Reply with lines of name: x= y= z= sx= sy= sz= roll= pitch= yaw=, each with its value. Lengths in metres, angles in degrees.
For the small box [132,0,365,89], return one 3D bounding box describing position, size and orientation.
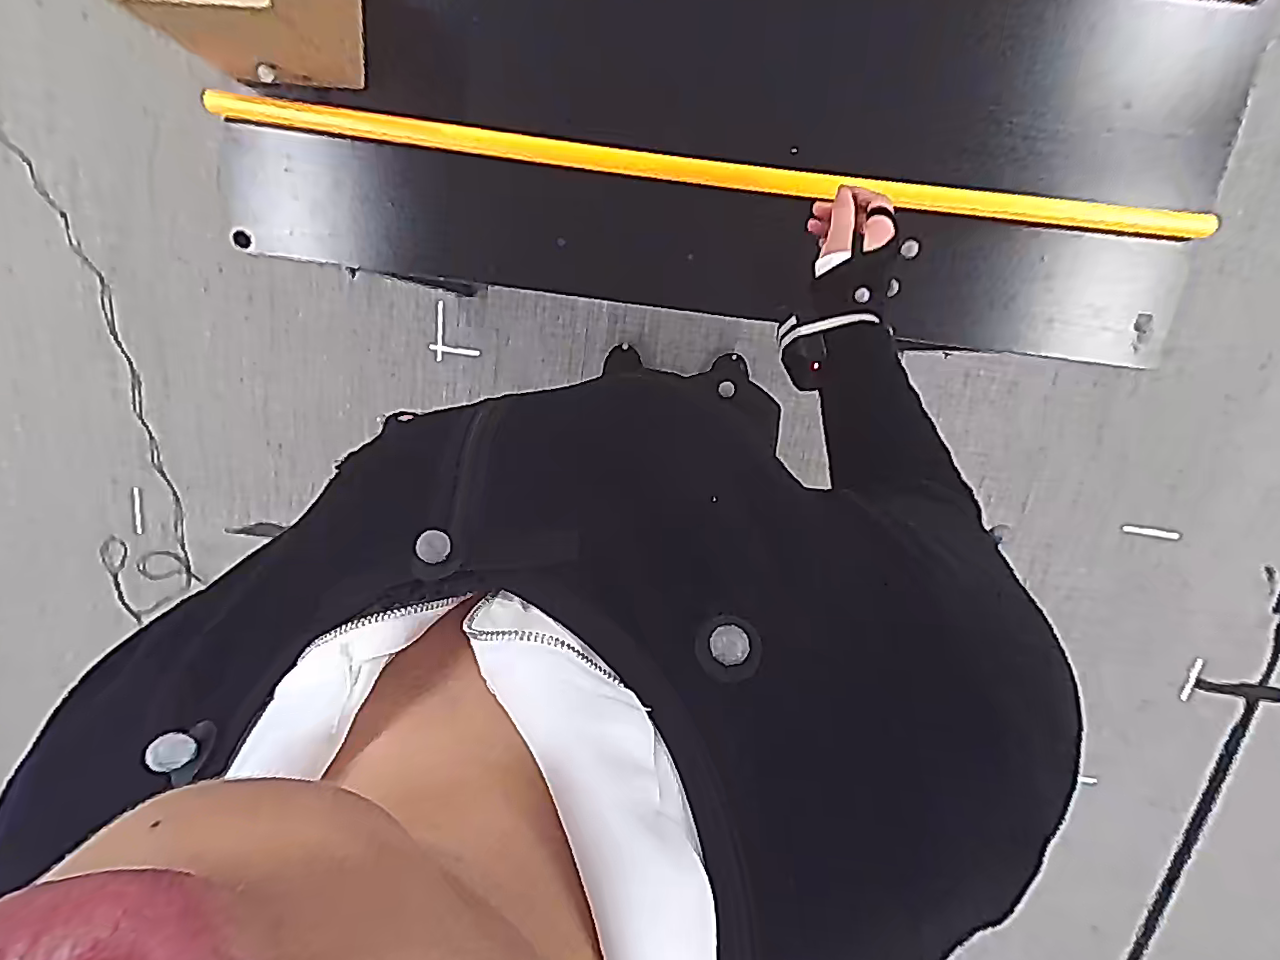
small box: x=-0.409 y=-0.550 z=0.562 sx=0.168 sy=0.176 sz=0.179 roll=5 pitch=104 yaw=1
